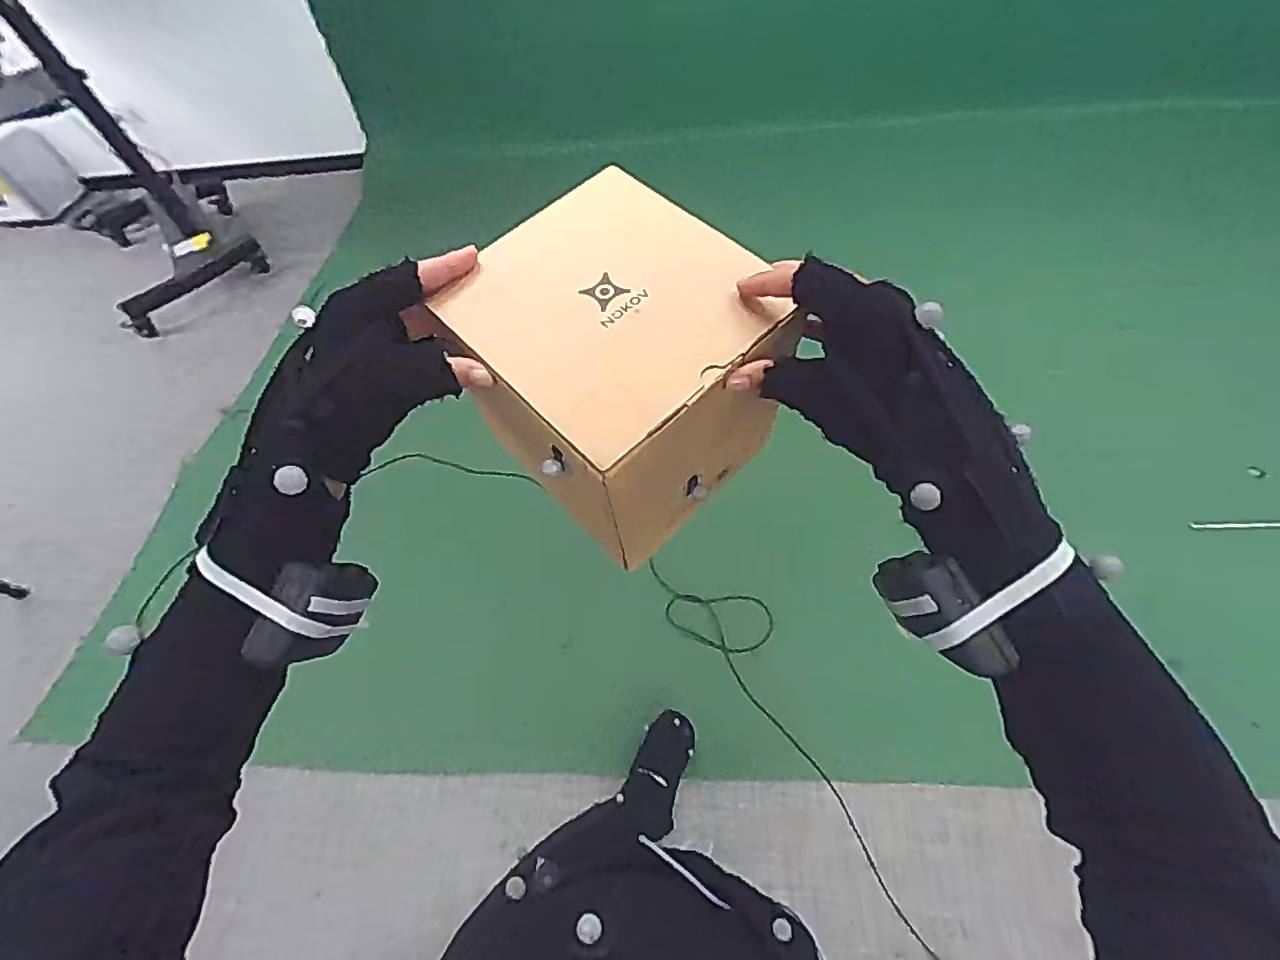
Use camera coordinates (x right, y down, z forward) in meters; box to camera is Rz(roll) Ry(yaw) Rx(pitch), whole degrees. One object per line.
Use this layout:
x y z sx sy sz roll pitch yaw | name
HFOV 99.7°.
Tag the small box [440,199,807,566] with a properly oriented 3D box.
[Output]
-0.011 -0.063 0.408 0.168 0.176 0.179 -41 68 -16 | small box
